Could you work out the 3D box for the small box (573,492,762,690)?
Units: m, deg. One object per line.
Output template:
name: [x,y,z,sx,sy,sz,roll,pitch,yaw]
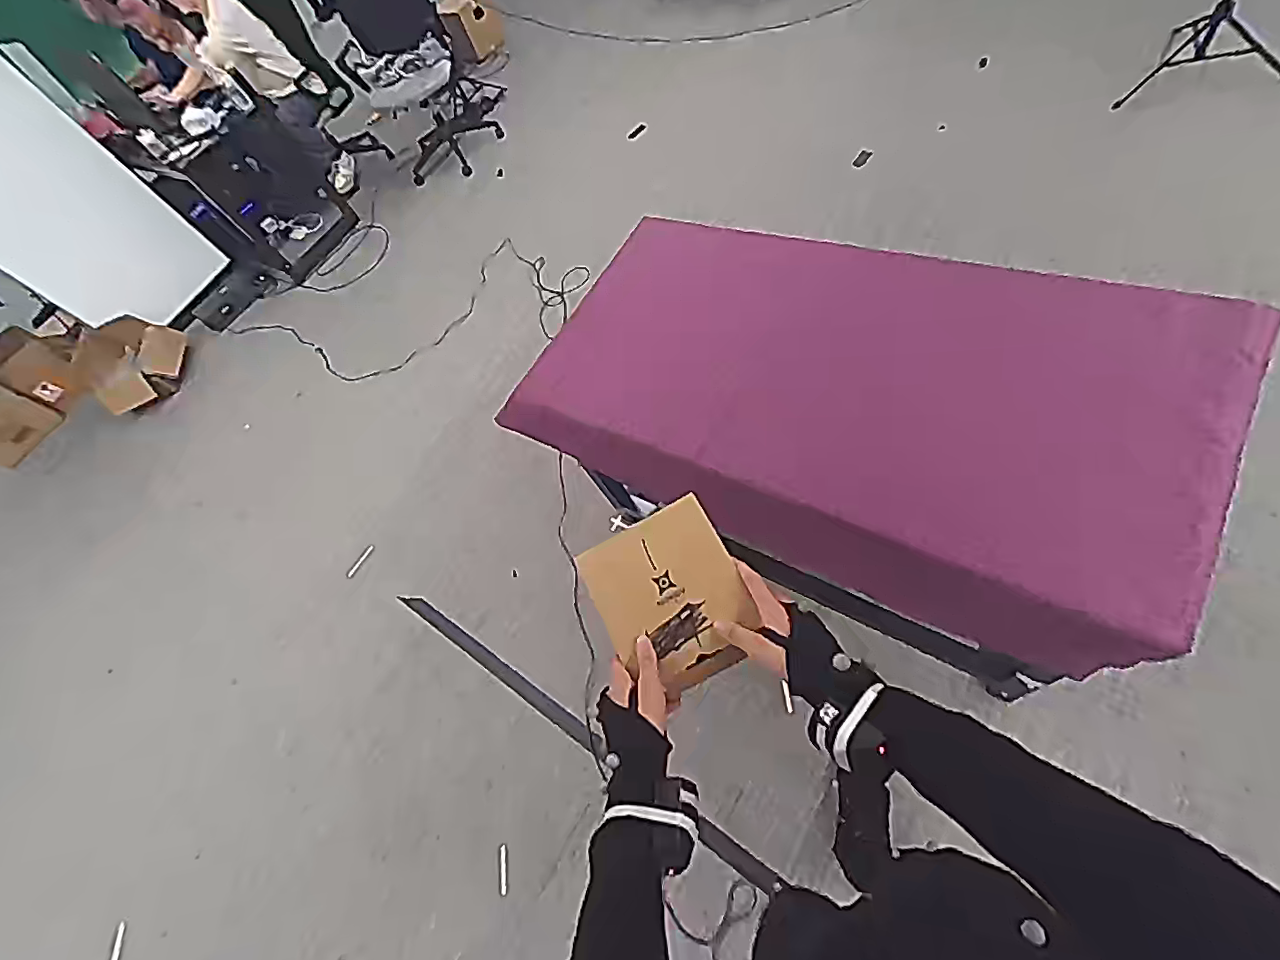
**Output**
small box: [0.043,0.146,0.694,0.168,0.176,0.179,-30,68,1]
